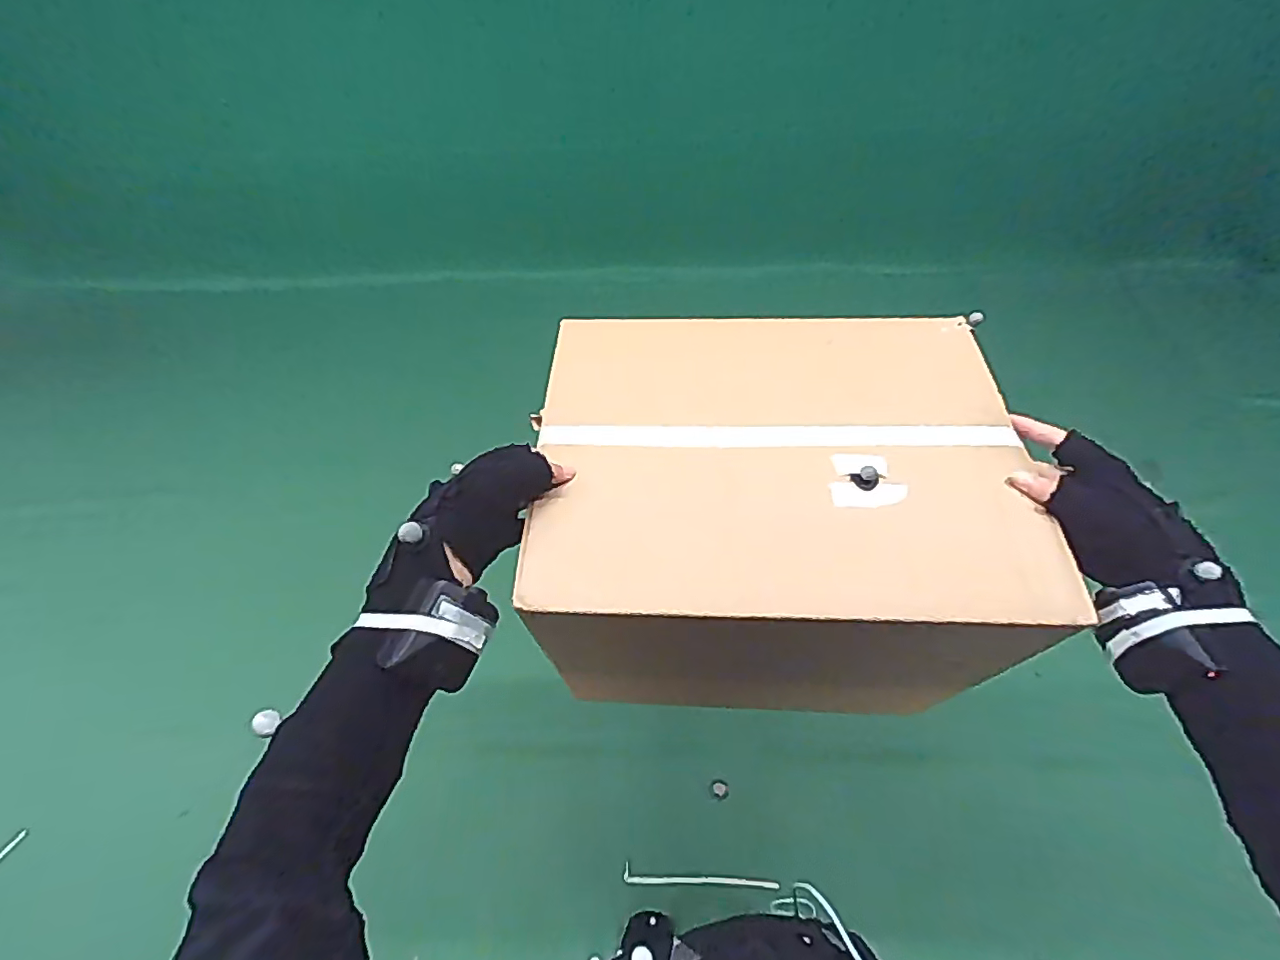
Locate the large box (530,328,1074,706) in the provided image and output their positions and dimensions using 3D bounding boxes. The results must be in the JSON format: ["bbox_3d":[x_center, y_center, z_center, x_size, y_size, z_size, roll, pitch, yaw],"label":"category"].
[{"bbox_3d":[0.121,0.053,0.598,0.408,0.320,0.320,1,56,3],"label":"large box"}]
